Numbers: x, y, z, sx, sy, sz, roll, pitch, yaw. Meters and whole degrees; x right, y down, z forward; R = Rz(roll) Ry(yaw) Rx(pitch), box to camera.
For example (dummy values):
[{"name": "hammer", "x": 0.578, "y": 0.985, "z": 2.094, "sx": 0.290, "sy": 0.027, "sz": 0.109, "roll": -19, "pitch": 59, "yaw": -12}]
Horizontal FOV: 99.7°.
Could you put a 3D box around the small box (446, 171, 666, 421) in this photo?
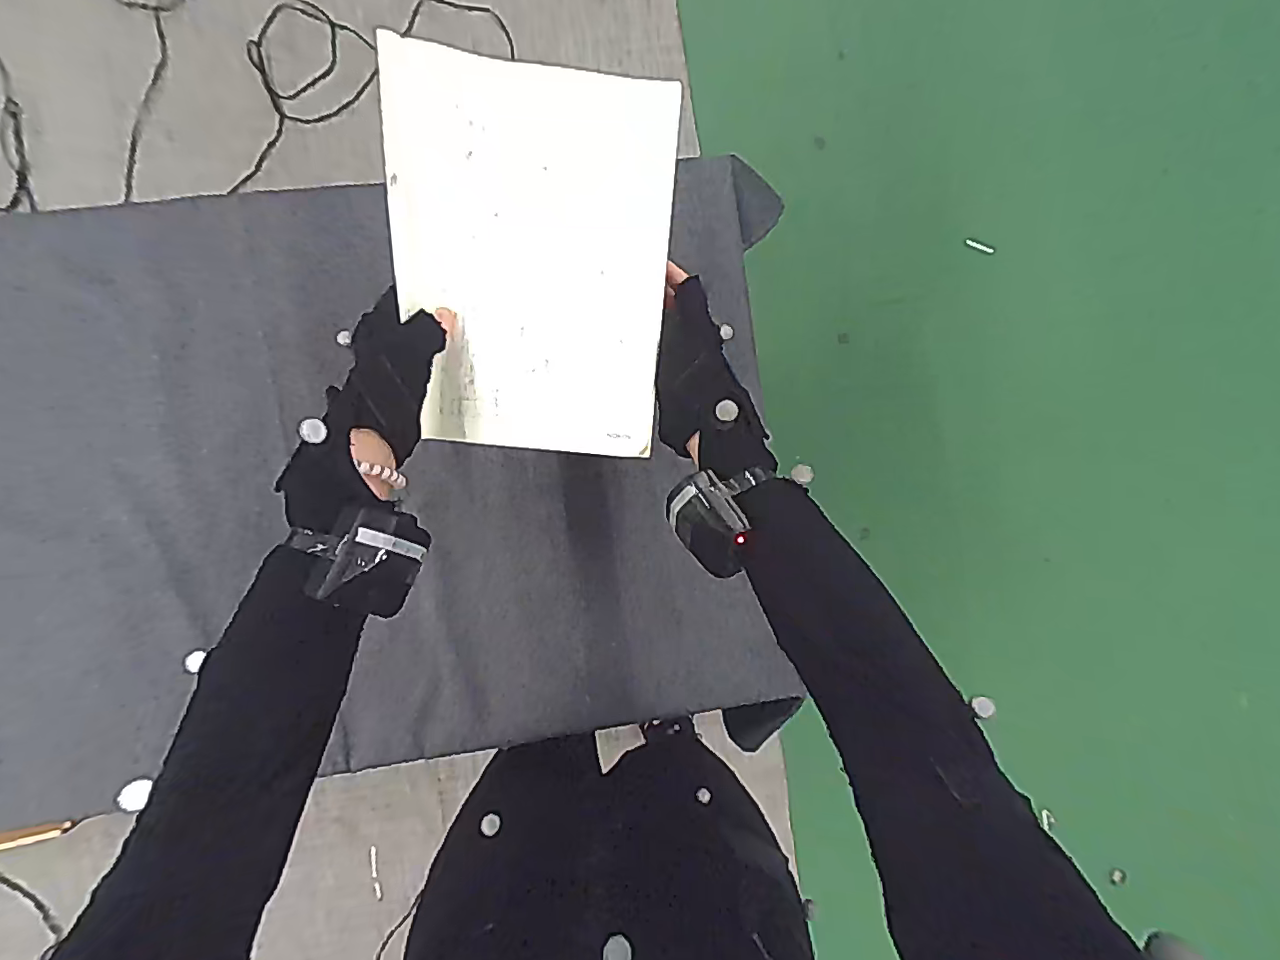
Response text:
[{"name": "small box", "x": -0.072, "y": -0.156, "z": 0.505, "sx": 0.168, "sy": 0.176, "sz": 0.179, "roll": -4, "pitch": 90, "yaw": -4}]
